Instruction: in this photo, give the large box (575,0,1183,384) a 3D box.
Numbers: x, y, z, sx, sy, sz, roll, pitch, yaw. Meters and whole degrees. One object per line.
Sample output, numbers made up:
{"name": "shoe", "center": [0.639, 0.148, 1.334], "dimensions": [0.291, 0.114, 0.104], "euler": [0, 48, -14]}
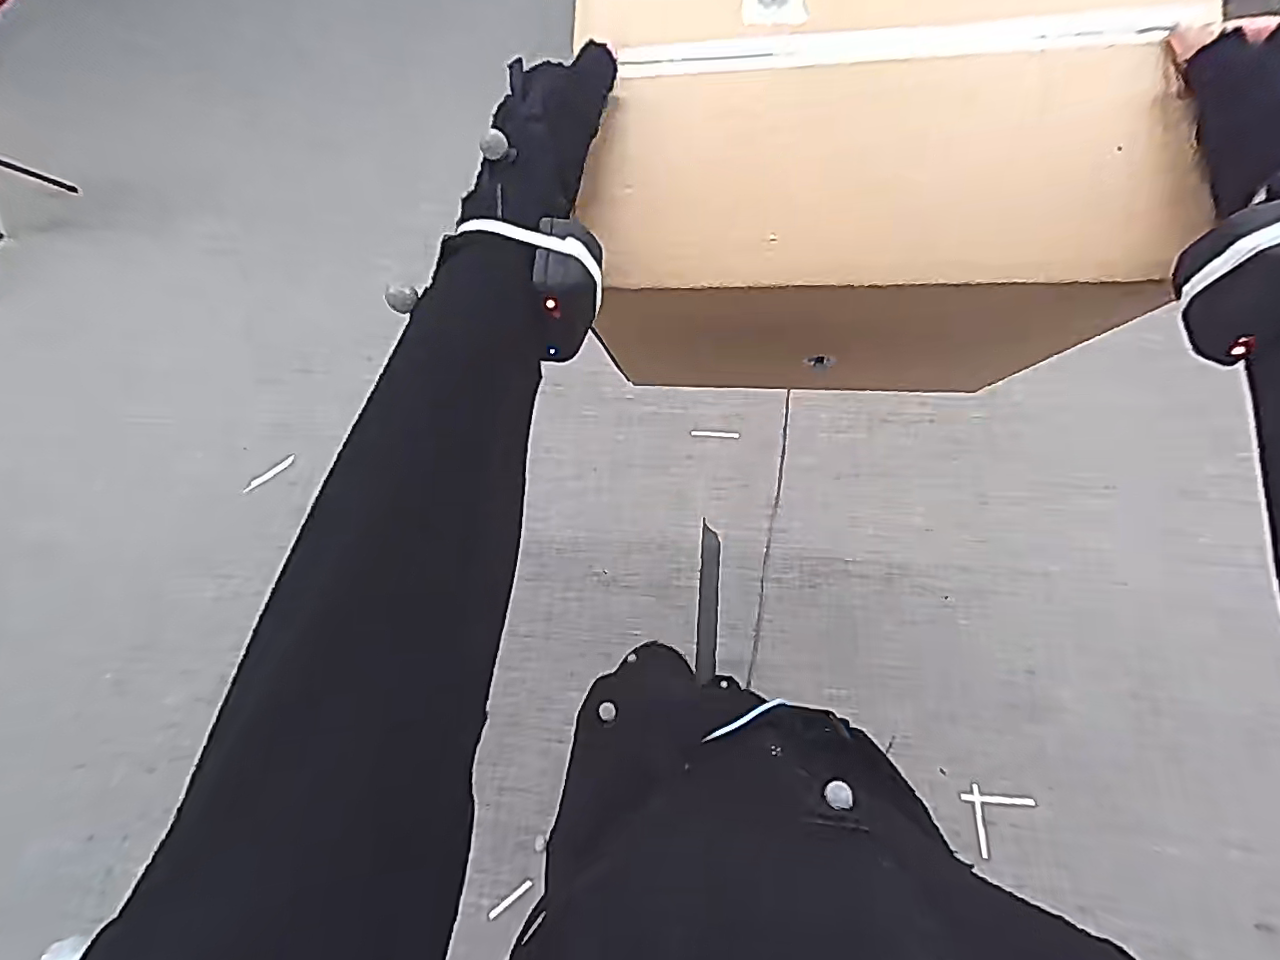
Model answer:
{"name": "large box", "center": [0.178, -0.275, 0.527], "dimensions": [0.408, 0.320, 0.320], "euler": [2, 86, 10]}
